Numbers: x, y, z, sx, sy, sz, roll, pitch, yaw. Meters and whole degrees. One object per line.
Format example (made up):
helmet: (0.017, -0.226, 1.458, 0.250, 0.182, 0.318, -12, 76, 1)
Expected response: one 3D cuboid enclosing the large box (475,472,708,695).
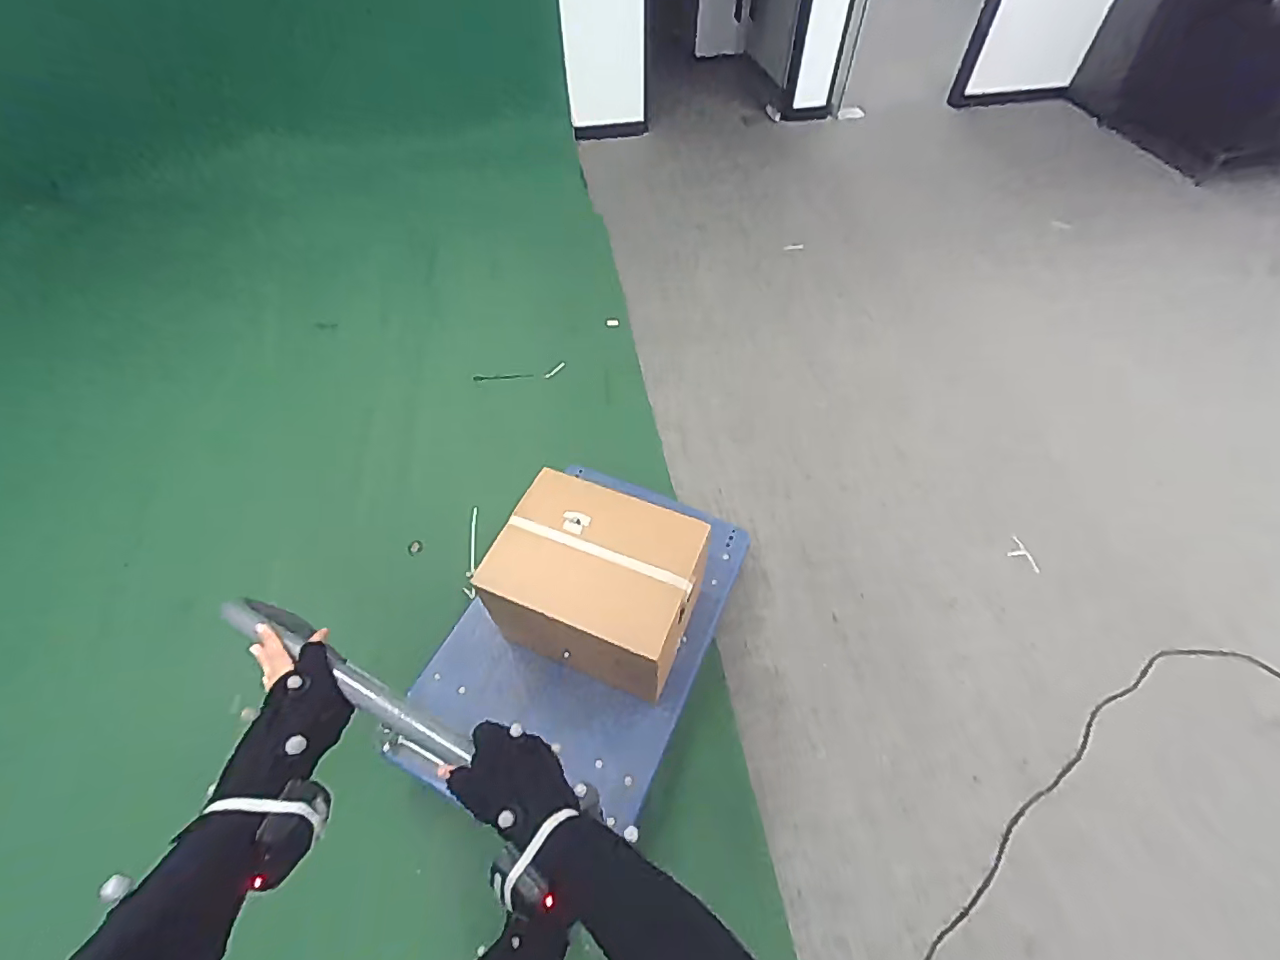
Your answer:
large box: (-0.087, 0.238, 1.233, 0.408, 0.320, 0.320, 18, 55, 14)
